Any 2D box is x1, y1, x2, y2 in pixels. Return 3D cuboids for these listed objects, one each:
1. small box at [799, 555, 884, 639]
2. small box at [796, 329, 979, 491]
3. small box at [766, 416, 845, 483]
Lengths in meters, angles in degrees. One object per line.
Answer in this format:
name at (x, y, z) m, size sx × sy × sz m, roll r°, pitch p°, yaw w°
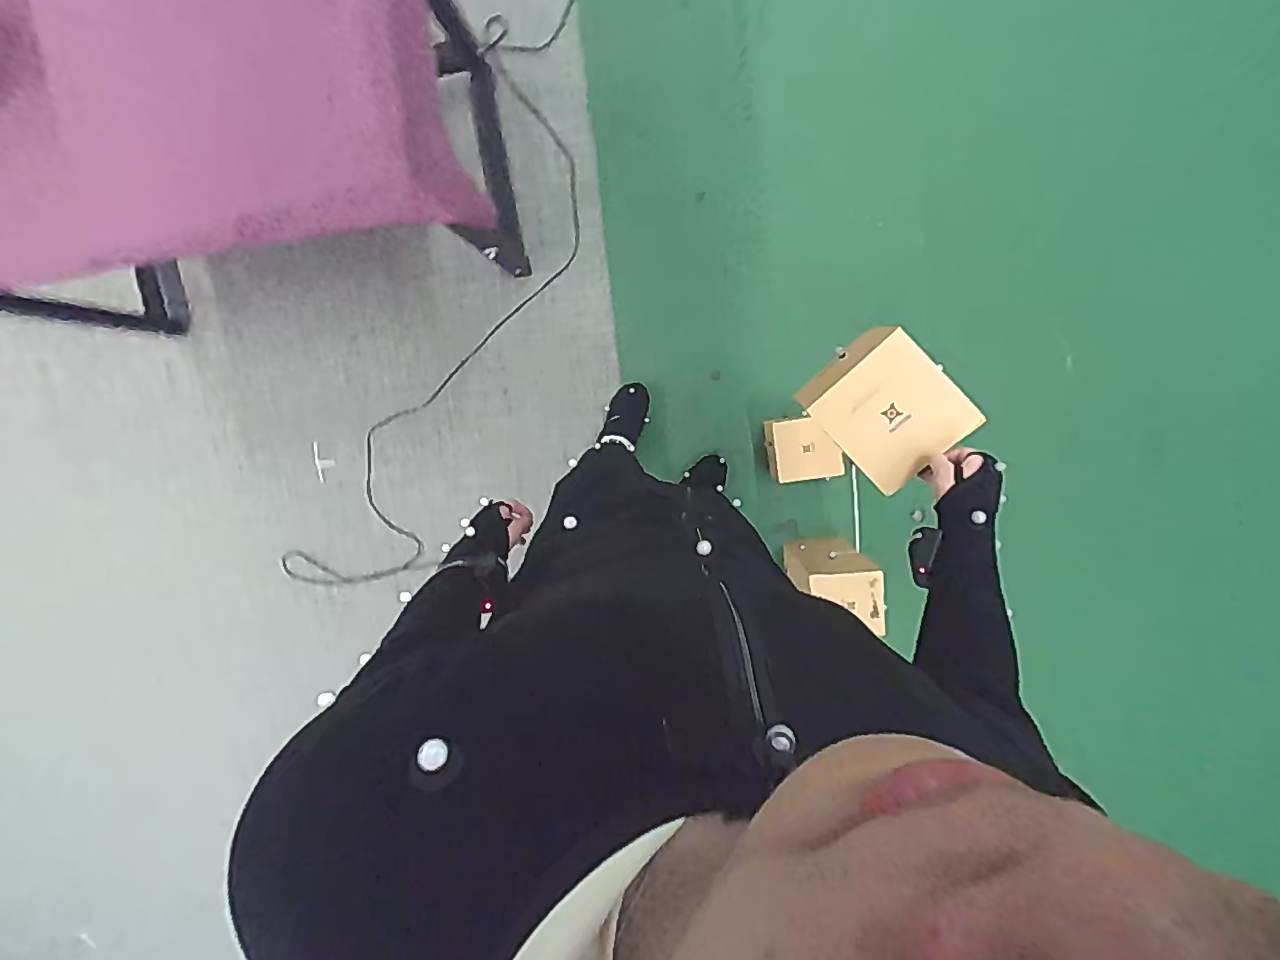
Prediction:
small box at (0.506, 0.294, 1.377) m, size 0.179 × 0.176 × 0.168 m, roll -3°, pitch 98°, yaw 7°
small box at (0.365, -0.117, 0.833) m, size 0.179 × 0.176 × 0.168 m, roll 45°, pitch 107°, yaw -5°
small box at (0.451, -0.090, 1.499) m, size 0.179 × 0.176 × 0.168 m, roll -8°, pitch 97°, yaw 5°
